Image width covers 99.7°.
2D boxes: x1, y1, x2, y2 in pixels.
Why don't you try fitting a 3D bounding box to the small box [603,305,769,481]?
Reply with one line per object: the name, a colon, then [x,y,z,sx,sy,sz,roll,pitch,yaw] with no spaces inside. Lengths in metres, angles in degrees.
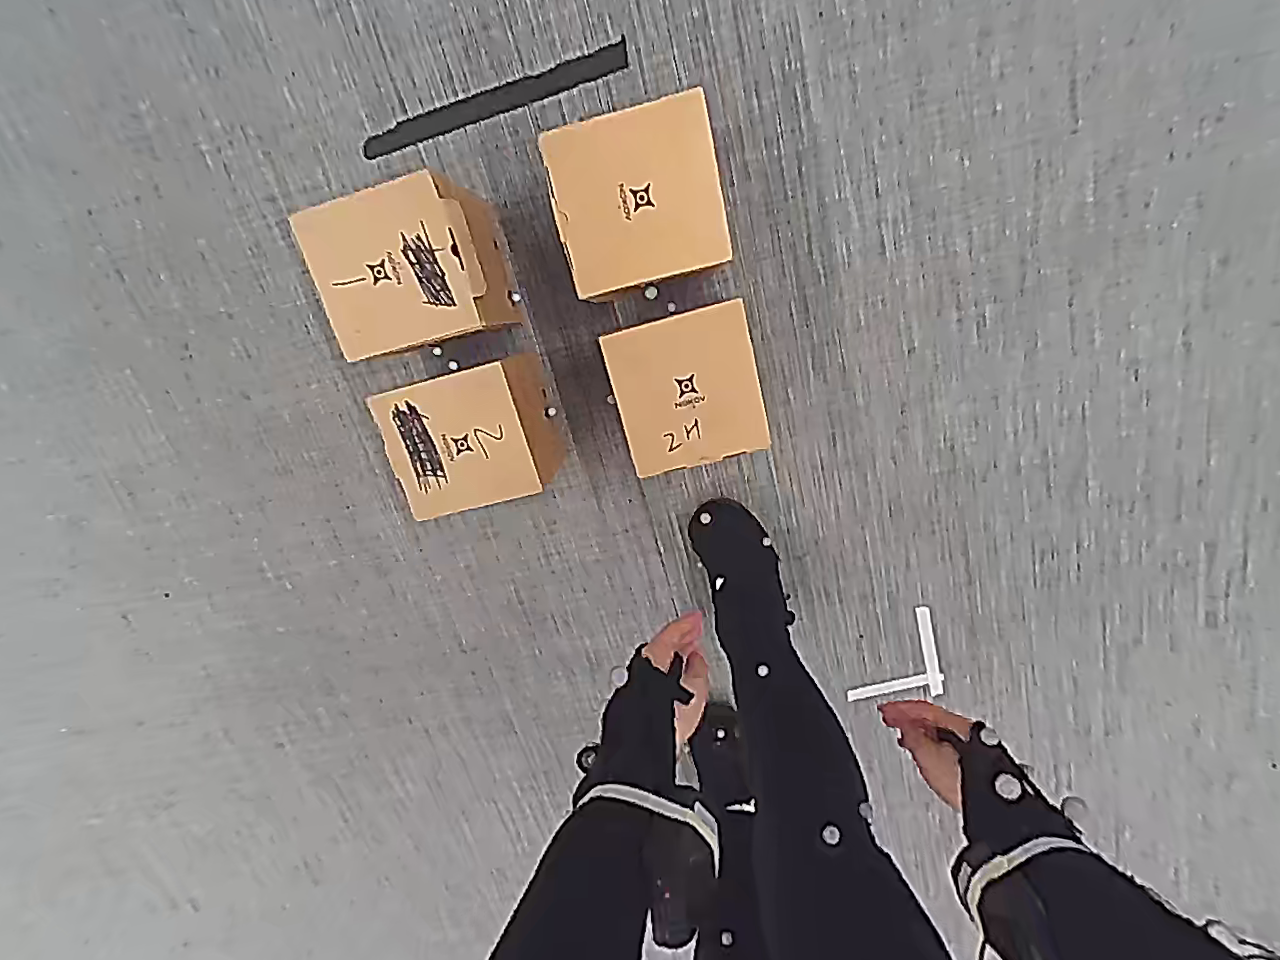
small box: [0.058,-0.119,0.707,0.168,0.176,0.179,-14,106,8]
